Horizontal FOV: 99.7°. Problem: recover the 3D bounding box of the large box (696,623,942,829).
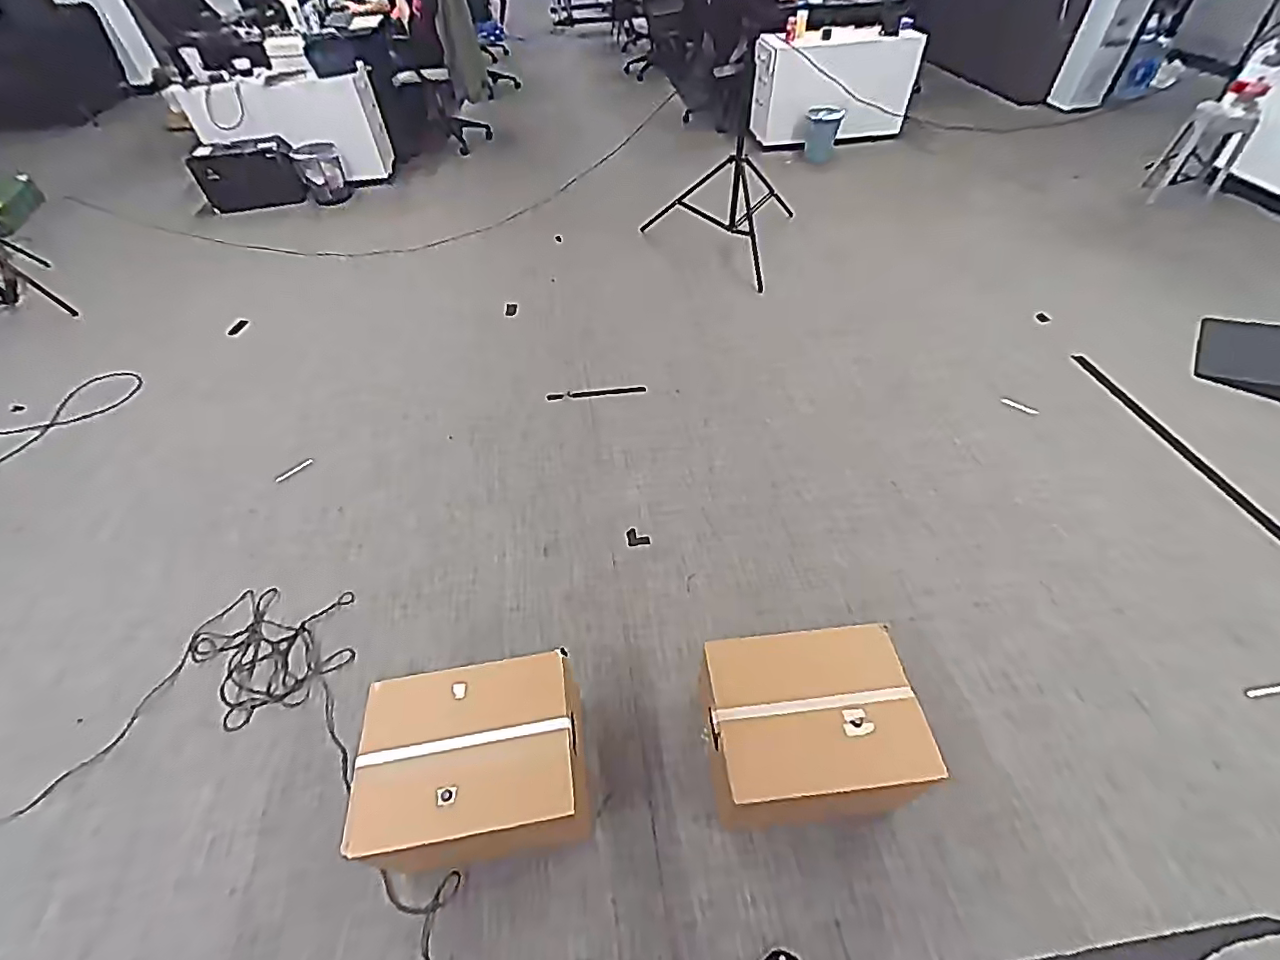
[{"bbox_3d":[0.356,0.550,1.204,0.408,0.320,0.320,-5,49,-3],"label":"large box"}]
